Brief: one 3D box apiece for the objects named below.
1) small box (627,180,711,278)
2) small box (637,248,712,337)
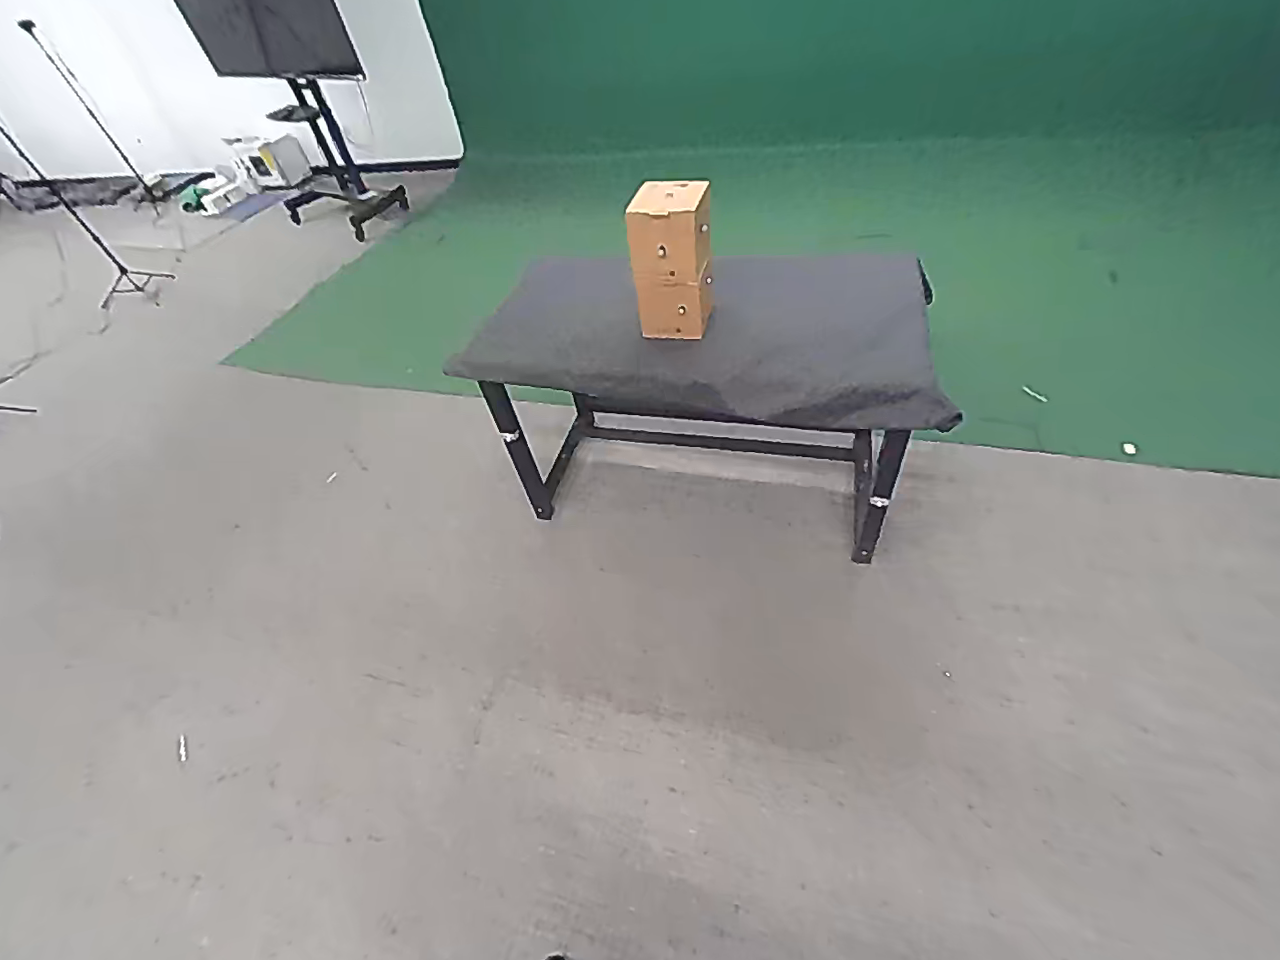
[{"bbox_3d":[0.080,-0.614,1.330,0.168,0.176,0.179,9,52,15],"label":"small box"},{"bbox_3d":[0.101,-0.501,1.448,0.168,0.176,0.179,7,49,14],"label":"small box"}]
